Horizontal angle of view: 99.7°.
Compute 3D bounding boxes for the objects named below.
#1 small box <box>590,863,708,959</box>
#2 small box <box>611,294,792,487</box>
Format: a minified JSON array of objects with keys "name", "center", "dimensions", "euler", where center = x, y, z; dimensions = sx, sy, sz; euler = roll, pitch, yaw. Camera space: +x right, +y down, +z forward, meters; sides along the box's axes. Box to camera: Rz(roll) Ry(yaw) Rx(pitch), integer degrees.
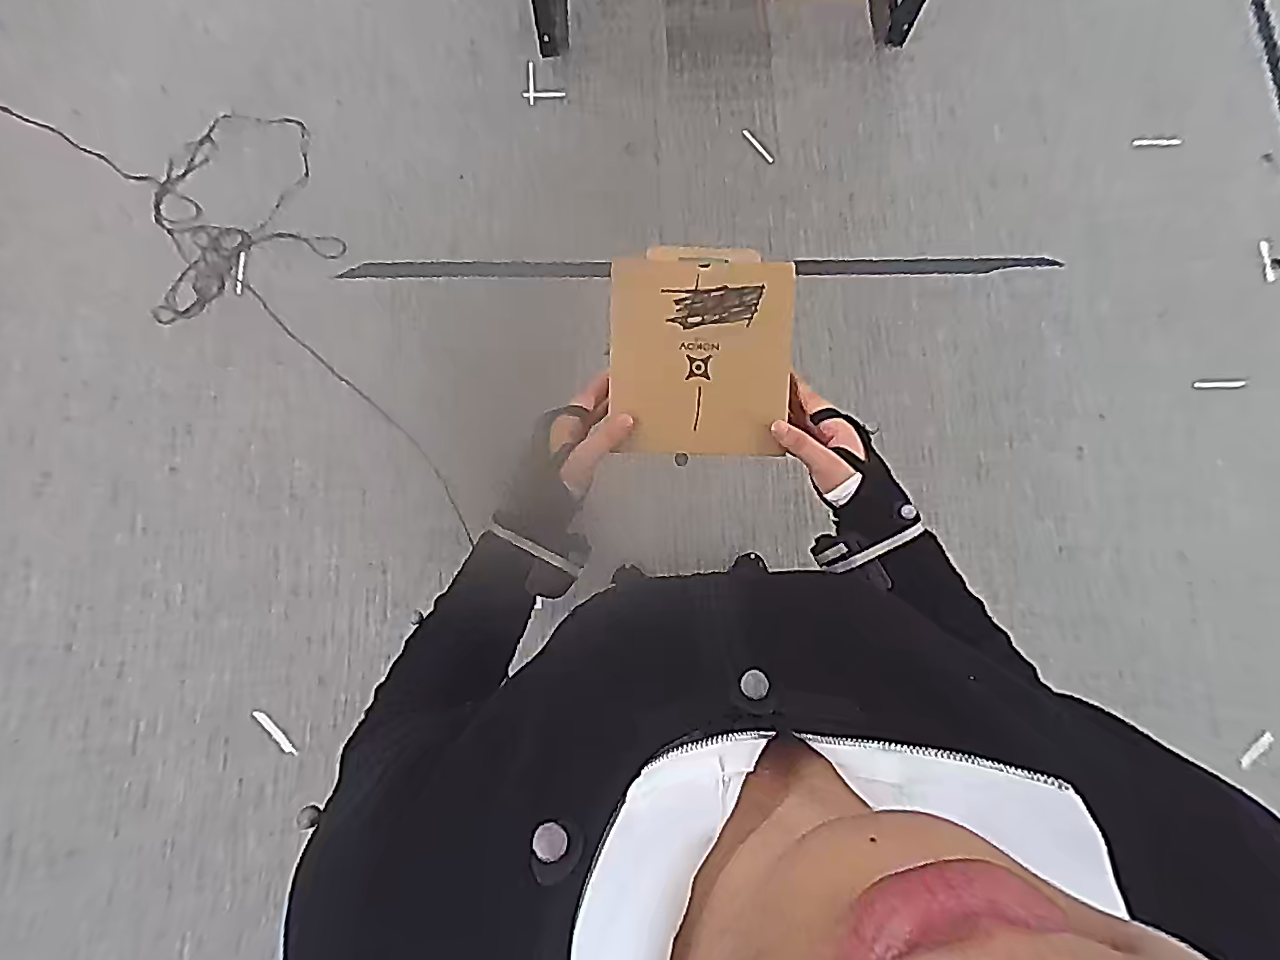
[{"name":"small box","center":[0.017,0.752,0.872],"dimensions":[0.179,0.176,0.168],"euler":[-3,80,-1]},{"name":"small box","center":[0.056,-0.088,0.581],"dimensions":[0.168,0.176,0.179],"euler":[2,95,0]}]
